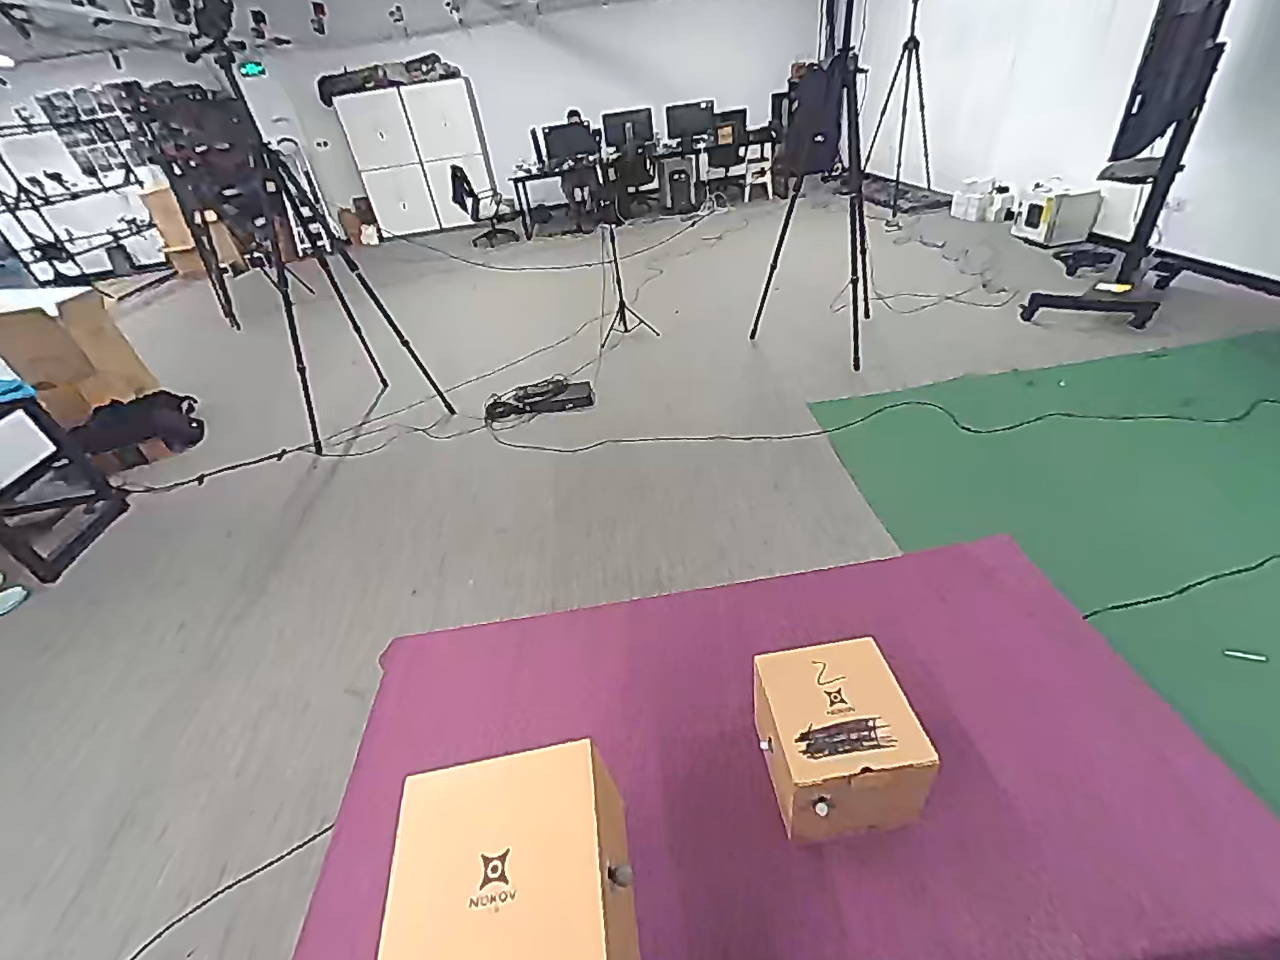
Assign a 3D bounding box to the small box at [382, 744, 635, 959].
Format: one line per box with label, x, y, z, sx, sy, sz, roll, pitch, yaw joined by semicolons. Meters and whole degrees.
small box;-0.102;0.366;0.477;0.168;0.176;0.179;-12;44;-1
